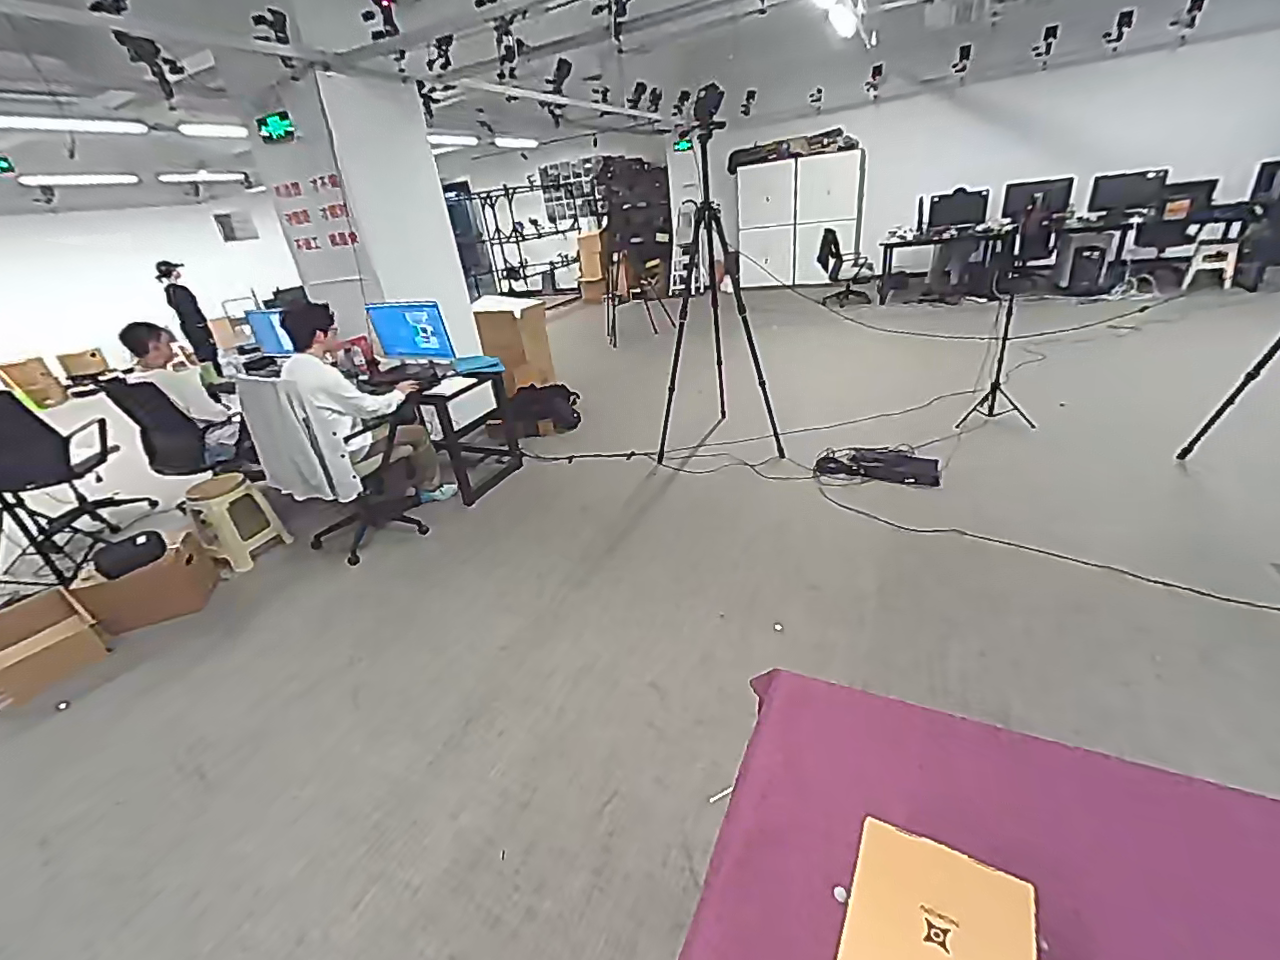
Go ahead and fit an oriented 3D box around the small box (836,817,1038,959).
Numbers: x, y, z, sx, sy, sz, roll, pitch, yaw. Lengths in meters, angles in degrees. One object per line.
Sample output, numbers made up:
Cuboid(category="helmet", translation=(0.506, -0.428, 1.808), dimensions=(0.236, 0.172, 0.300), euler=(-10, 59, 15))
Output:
Cuboid(category="small box", translation=(0.308, 0.518, 0.572), dimensions=(0.168, 0.176, 0.179), euler=(8, 30, 30))
